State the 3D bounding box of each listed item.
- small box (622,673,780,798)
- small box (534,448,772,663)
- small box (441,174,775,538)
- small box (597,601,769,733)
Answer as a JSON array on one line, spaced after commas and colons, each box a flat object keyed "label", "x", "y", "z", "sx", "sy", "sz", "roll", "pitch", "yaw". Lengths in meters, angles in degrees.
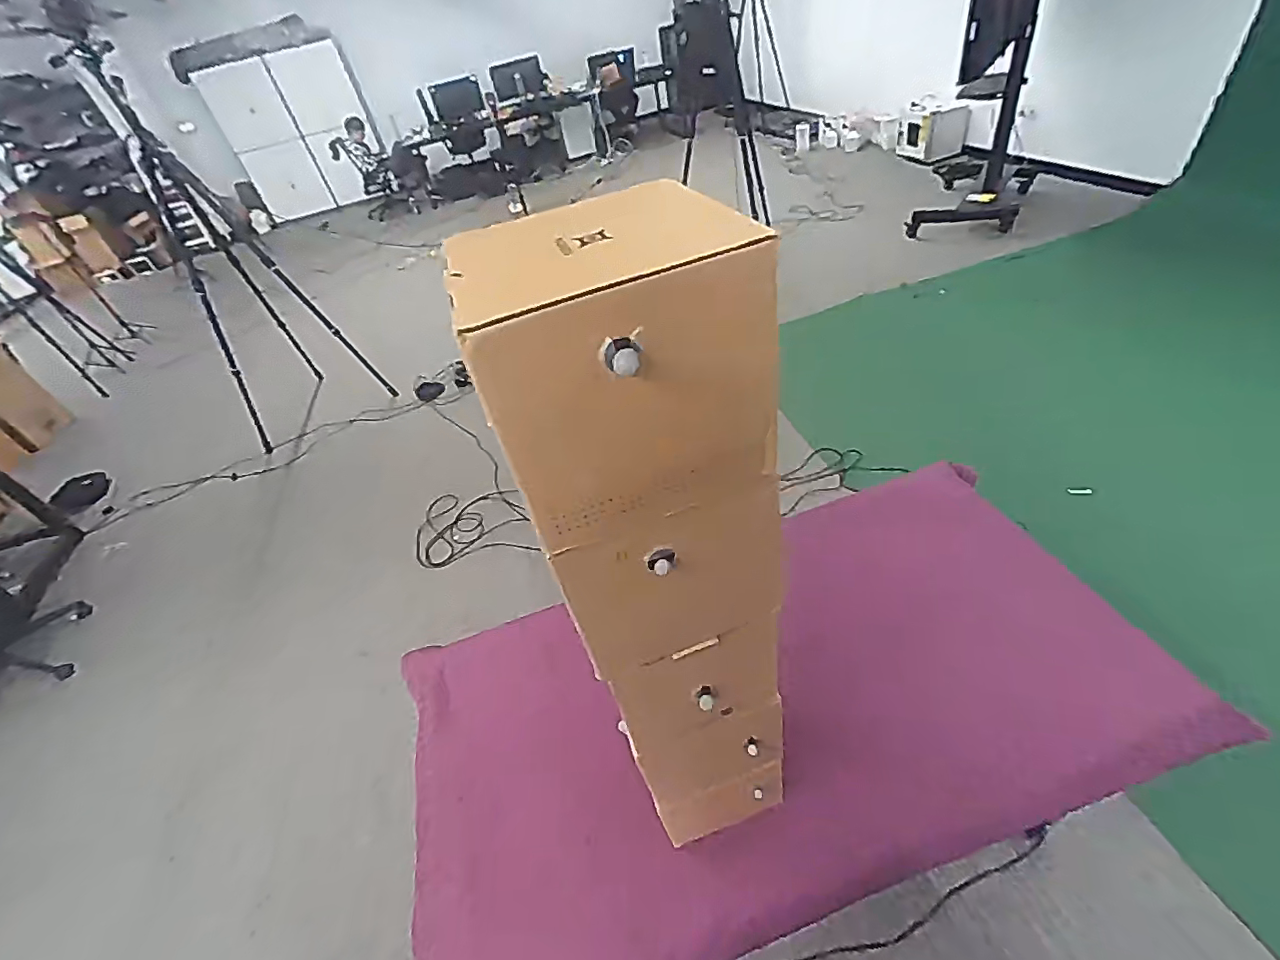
[{"label": "small box", "x": 0.065, "y": 0.274, "z": 0.700, "sx": 0.179, "sy": 0.176, "sz": 0.168, "roll": -19, "pitch": 41, "yaw": -5}, {"label": "small box", "x": 0.006, "y": 0.033, "z": 0.487, "sx": 0.179, "sy": 0.176, "sz": 0.168, "roll": -19, "pitch": 41, "yaw": -7}, {"label": "small box", "x": -0.021, "y": -0.089, "z": 0.383, "sx": 0.179, "sy": 0.176, "sz": 0.168, "roll": -20, "pitch": 41, "yaw": -6}, {"label": "small box", "x": 0.033, "y": 0.152, "z": 0.598, "sx": 0.168, "sy": 0.176, "sz": 0.179, "roll": -19, "pitch": 42, "yaw": -7}]
